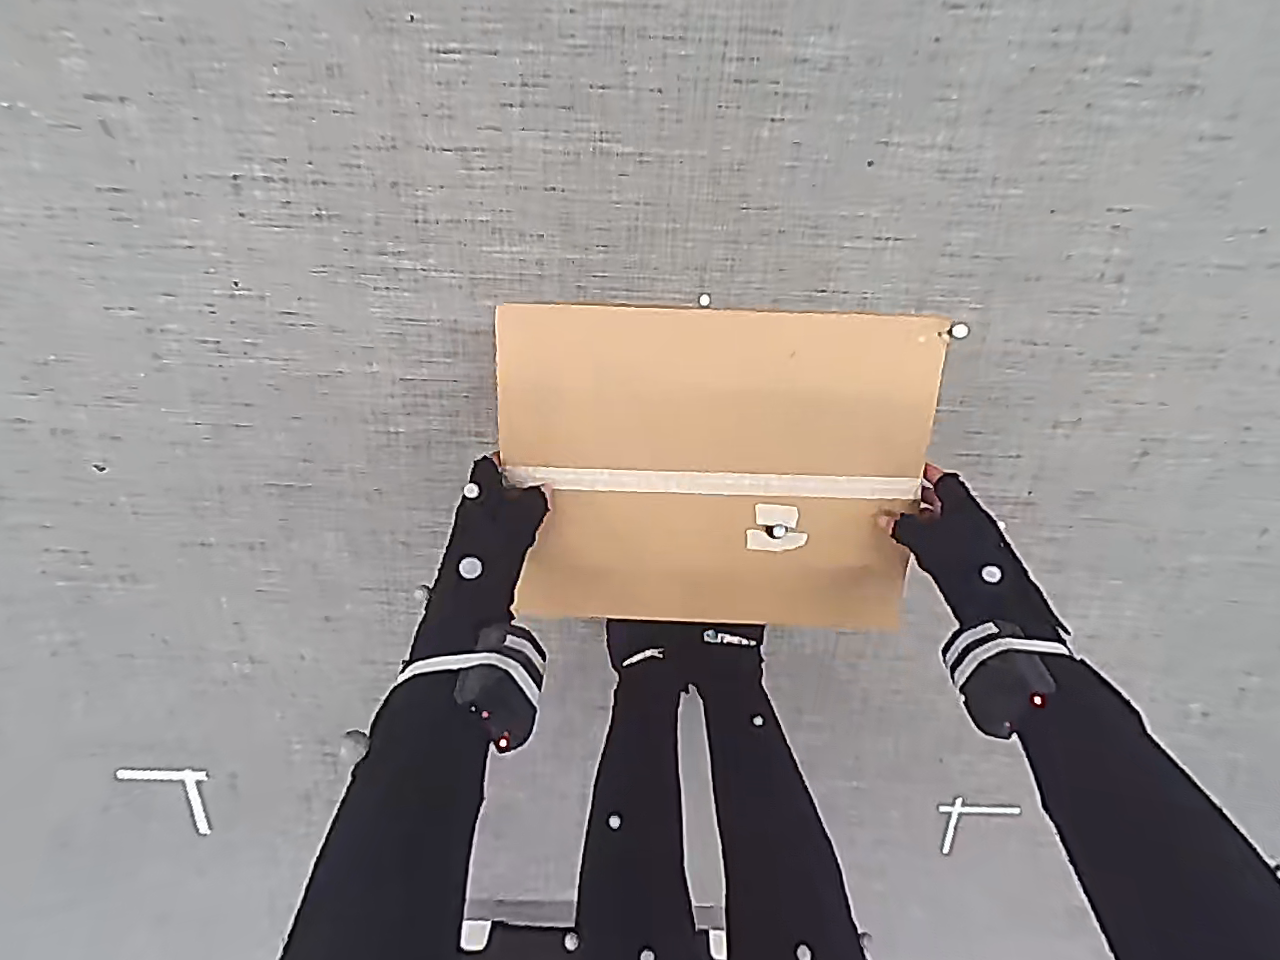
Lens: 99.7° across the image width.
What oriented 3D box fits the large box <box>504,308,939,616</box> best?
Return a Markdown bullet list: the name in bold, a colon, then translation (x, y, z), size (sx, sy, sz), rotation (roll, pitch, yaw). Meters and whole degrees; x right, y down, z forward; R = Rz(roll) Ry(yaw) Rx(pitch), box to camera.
- **large box**: translation (0.072, -0.044, 0.673), size (0.408, 0.320, 0.320), rotation (1, 107, 0)
